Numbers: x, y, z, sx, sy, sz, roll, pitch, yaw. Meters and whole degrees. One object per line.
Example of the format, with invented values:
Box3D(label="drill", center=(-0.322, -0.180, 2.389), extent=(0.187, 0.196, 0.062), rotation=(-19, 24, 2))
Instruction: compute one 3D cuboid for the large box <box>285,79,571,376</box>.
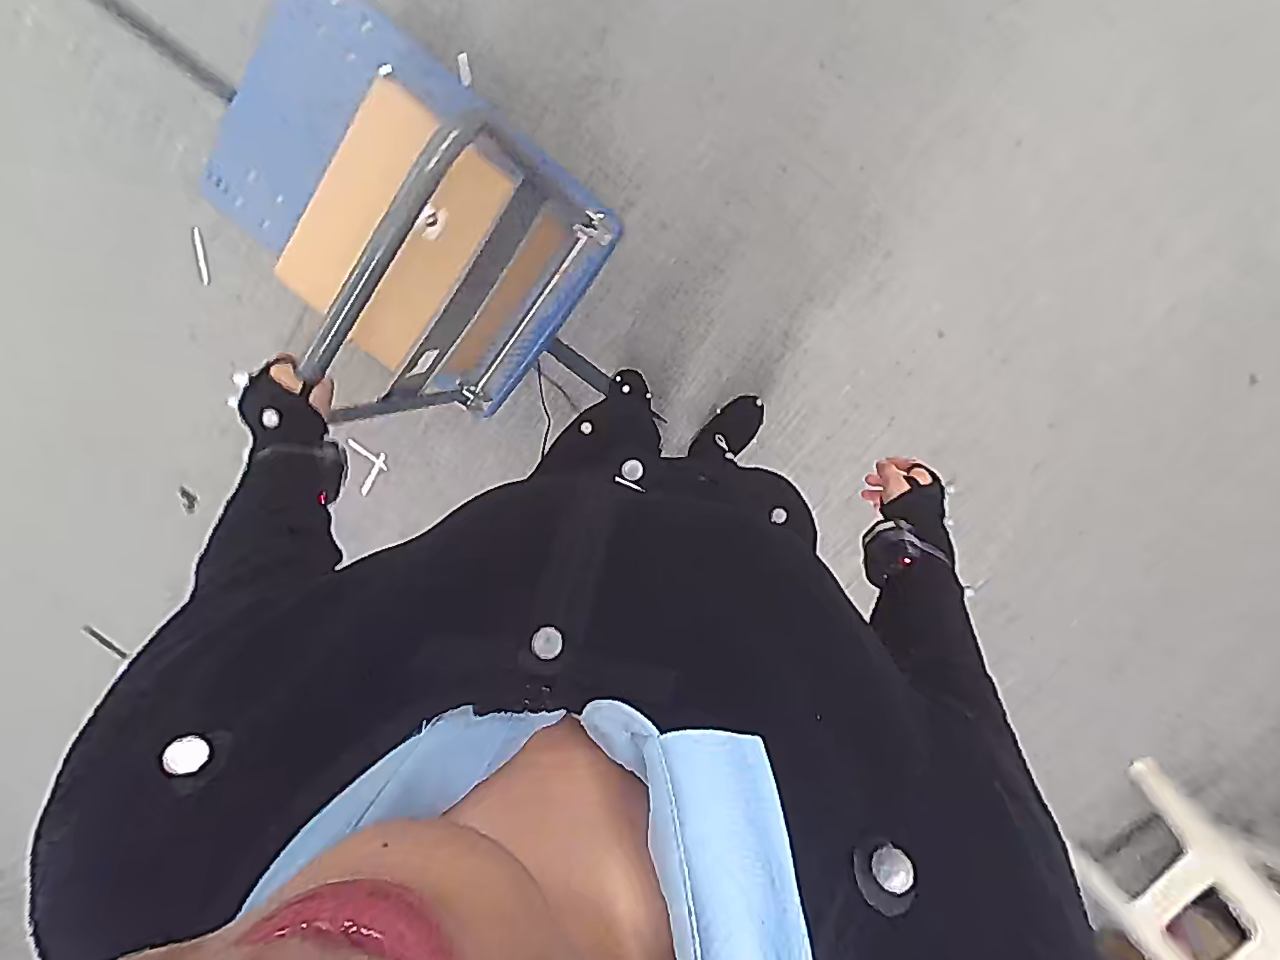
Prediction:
Box3D(label="large box", center=(-0.407, -0.467, 1.108), extent=(0.320, 0.320, 0.408), rotation=(40, 105, -5))
